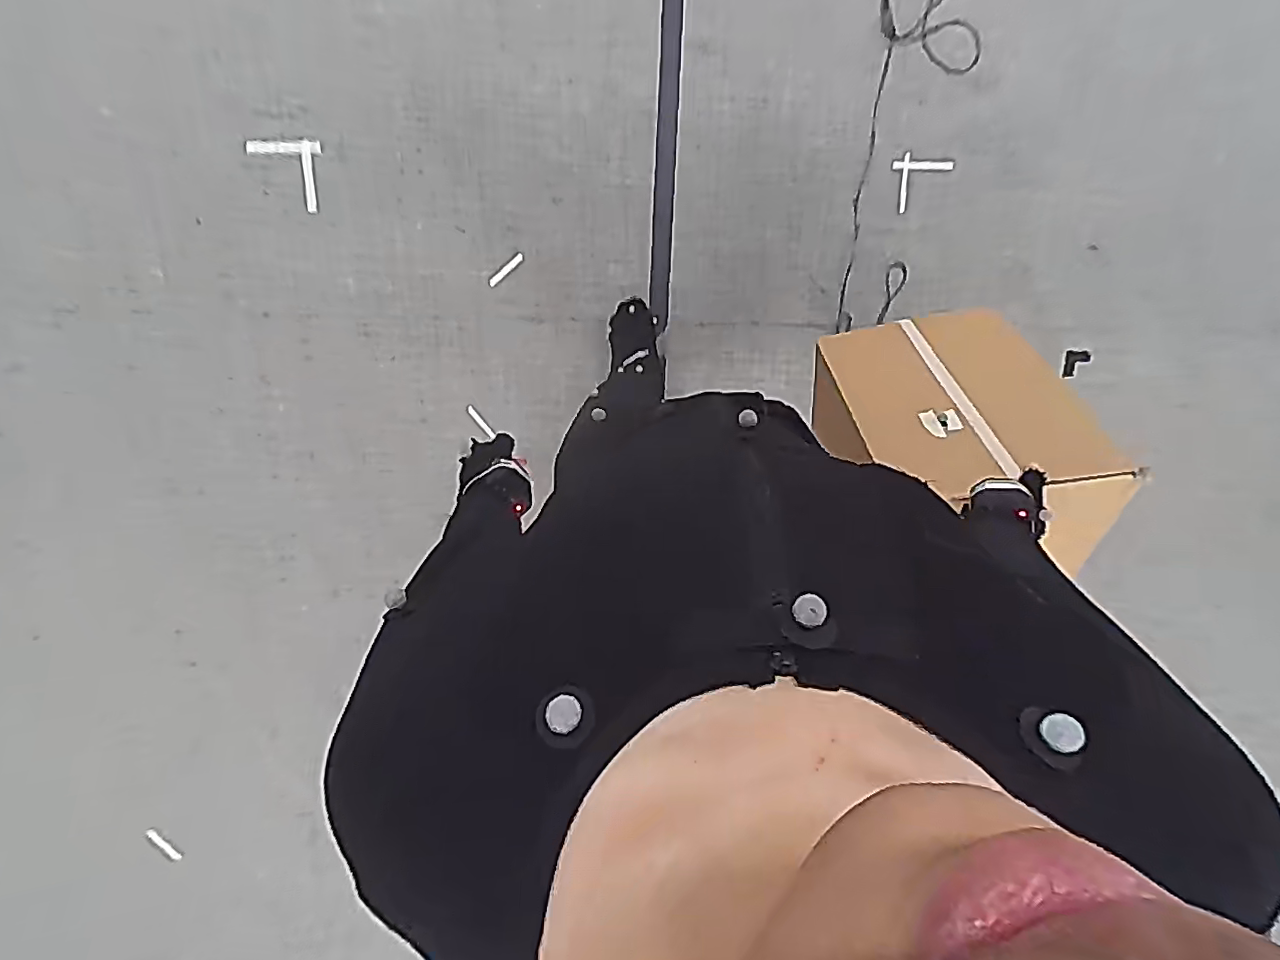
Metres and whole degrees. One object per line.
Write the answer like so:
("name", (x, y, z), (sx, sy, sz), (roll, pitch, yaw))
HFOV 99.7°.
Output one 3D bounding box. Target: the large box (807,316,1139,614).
("large box", (0.510, -0.029, 0.954), (0.320, 0.408, 0.320), (-9, 137, 6))
